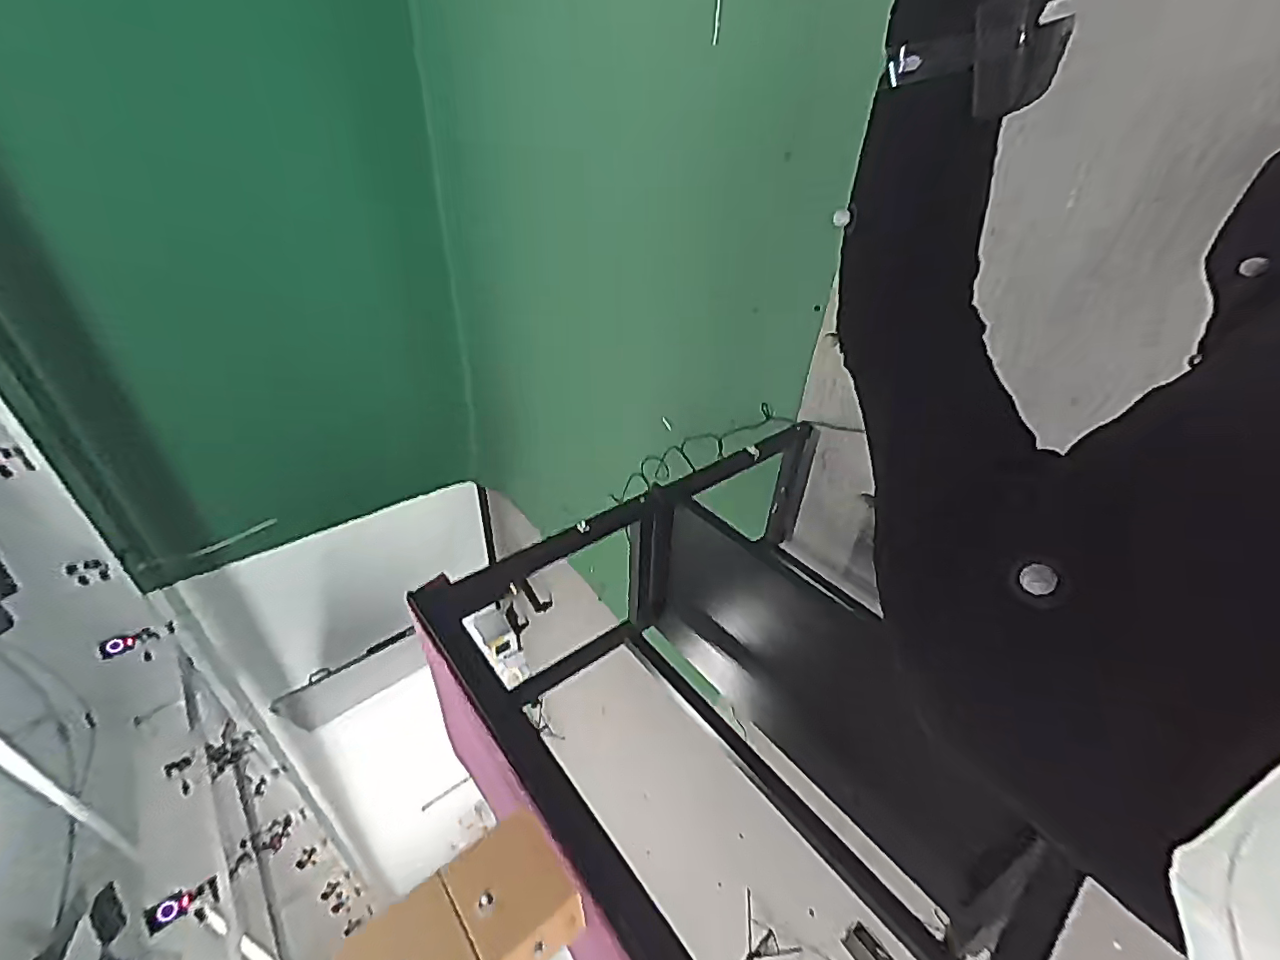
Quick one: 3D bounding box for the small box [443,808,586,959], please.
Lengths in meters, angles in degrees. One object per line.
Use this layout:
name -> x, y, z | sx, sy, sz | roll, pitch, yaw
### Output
small box -> -0.201, 0.702, 0.902 | 0.179, 0.176, 0.168 | 36, 137, 39

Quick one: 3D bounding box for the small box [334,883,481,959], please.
small box -> -0.327, 0.759, 0.815 | 0.179, 0.176, 0.168 | 34, 136, 38
